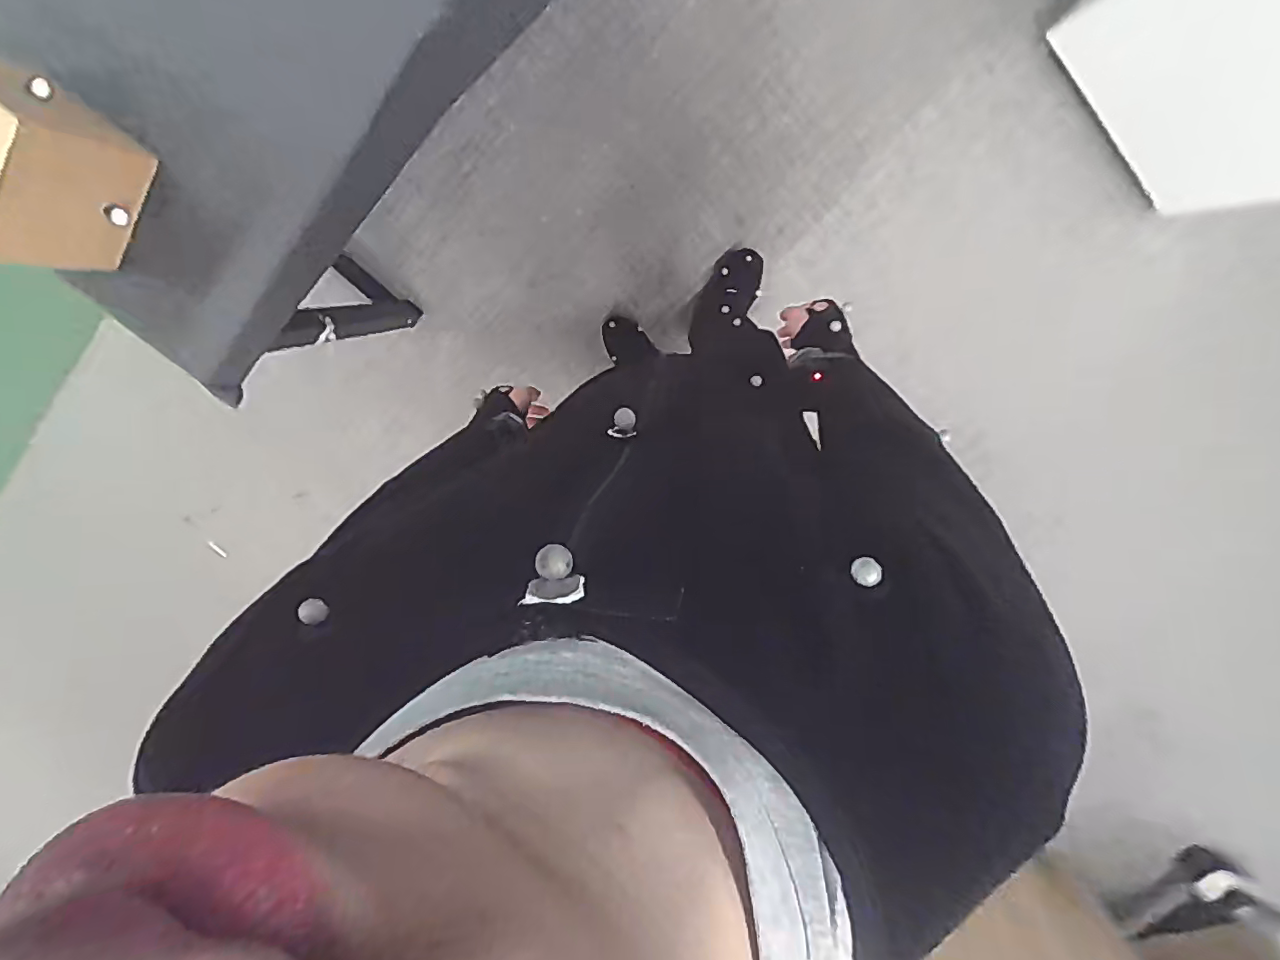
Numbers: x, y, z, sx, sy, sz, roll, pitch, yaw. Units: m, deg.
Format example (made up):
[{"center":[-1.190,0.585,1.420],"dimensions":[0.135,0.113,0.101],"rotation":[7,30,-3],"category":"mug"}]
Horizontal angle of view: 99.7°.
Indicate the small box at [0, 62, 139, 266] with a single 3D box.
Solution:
[{"center":[-0.748,-0.373,0.626],"dimensions":[0.168,0.176,0.179],"rotation":[35,106,-10],"category":"small box"}]
